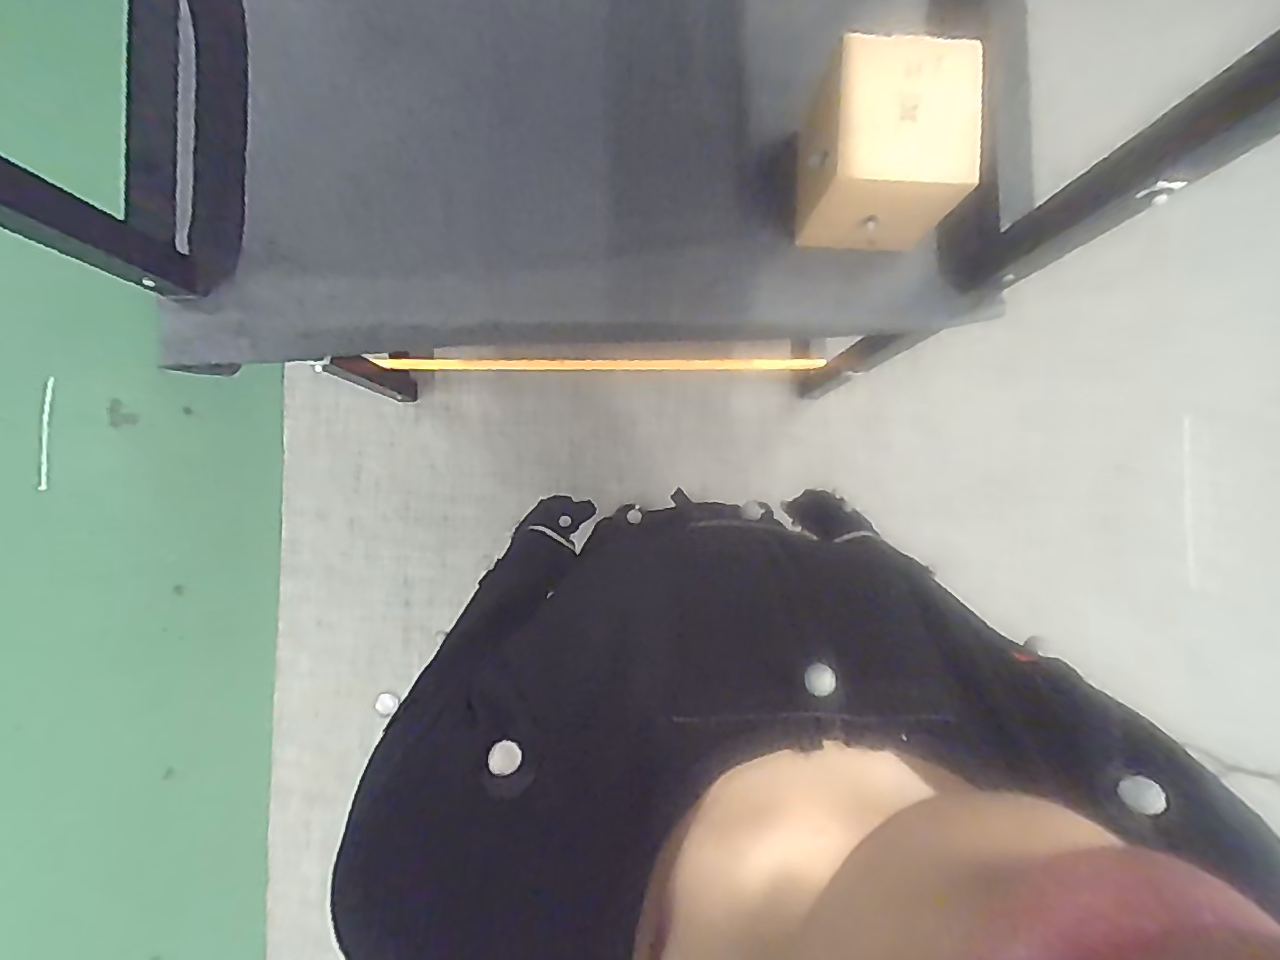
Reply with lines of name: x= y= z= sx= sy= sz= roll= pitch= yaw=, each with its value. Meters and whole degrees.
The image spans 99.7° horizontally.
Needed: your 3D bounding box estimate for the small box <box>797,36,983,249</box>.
small box: x=0.311 y=-0.423 z=0.705 sx=0.168 sy=0.176 sz=0.179 roll=3 pitch=87 yaw=-1
